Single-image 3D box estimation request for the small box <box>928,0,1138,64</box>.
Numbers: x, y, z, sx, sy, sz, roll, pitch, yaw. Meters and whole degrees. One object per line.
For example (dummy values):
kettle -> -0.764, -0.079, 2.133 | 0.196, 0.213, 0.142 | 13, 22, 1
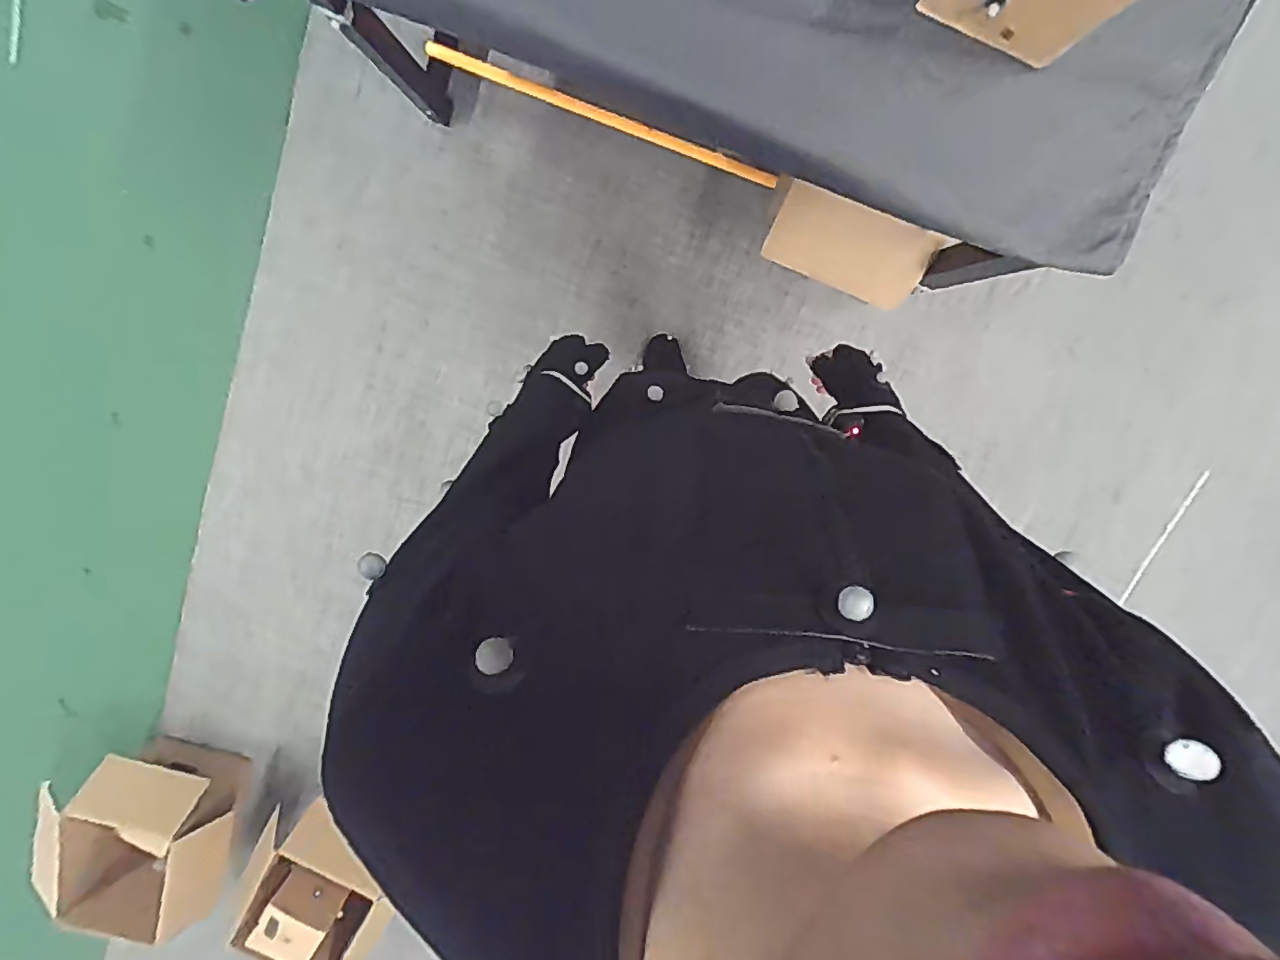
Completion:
small box -> 0.412, -0.554, 0.509 | 0.168, 0.176, 0.179 | 22, 104, -3
